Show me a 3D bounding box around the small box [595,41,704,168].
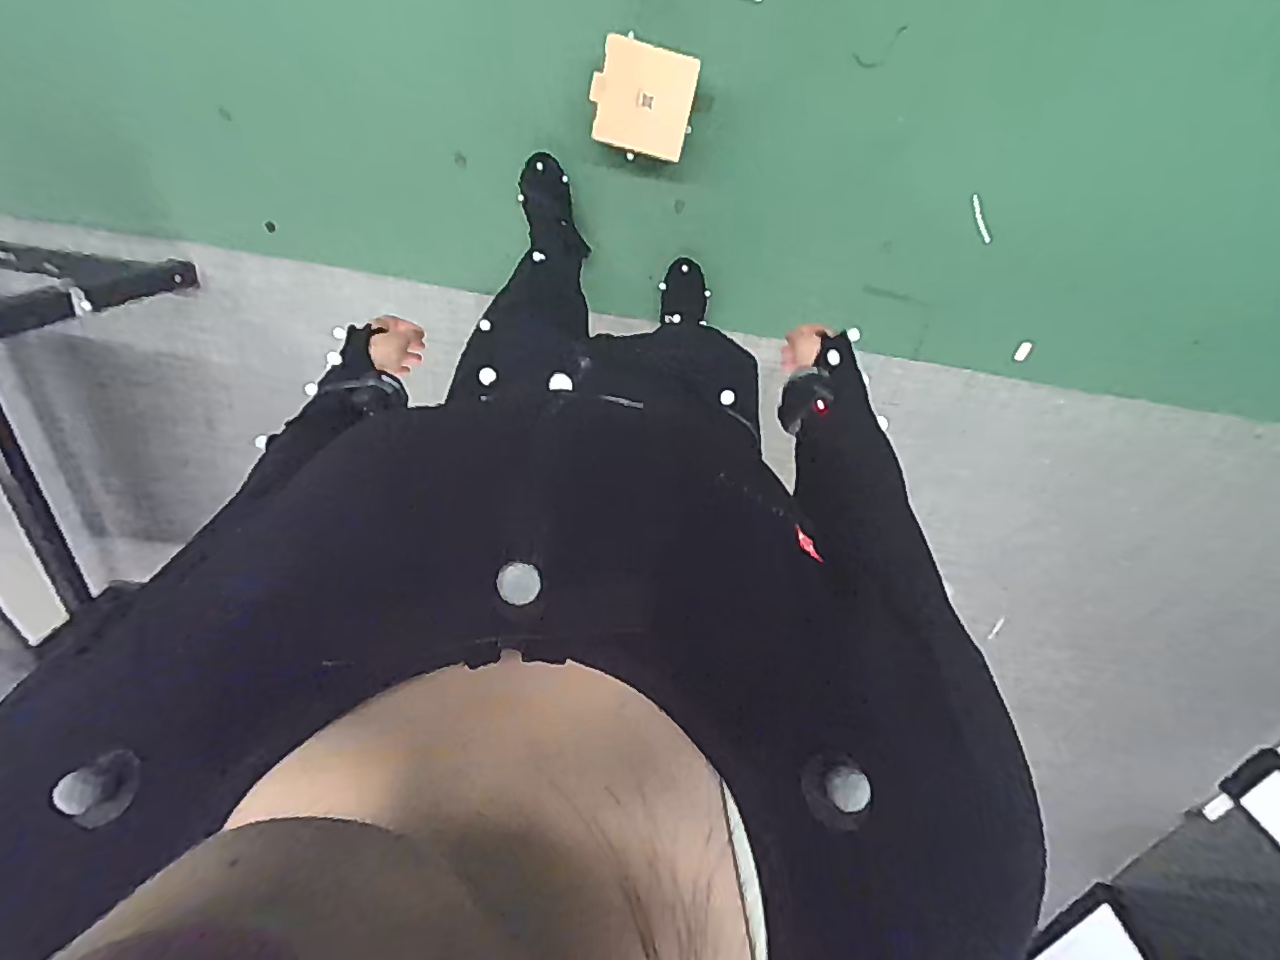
[{"bbox_3d":[0.015,-0.735,1.072,0.179,0.176,0.168,11,120,-6],"label":"small box"}]
